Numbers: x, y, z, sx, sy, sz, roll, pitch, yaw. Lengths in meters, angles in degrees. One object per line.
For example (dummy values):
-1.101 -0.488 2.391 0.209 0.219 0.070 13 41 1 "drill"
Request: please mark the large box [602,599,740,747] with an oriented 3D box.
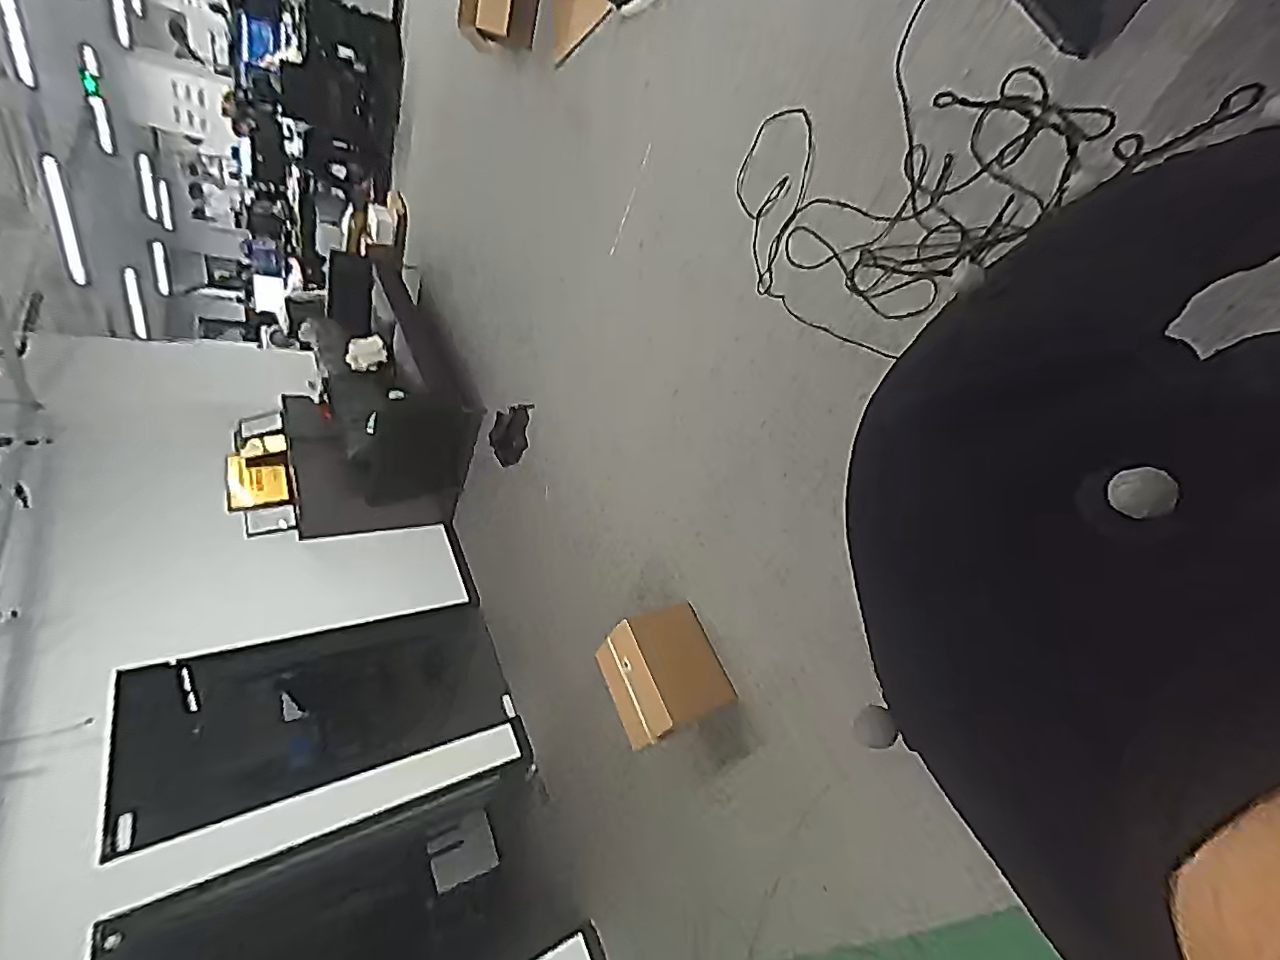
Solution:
0.107 0.727 2.067 0.320 0.320 0.408 -56 49 40 "large box"
